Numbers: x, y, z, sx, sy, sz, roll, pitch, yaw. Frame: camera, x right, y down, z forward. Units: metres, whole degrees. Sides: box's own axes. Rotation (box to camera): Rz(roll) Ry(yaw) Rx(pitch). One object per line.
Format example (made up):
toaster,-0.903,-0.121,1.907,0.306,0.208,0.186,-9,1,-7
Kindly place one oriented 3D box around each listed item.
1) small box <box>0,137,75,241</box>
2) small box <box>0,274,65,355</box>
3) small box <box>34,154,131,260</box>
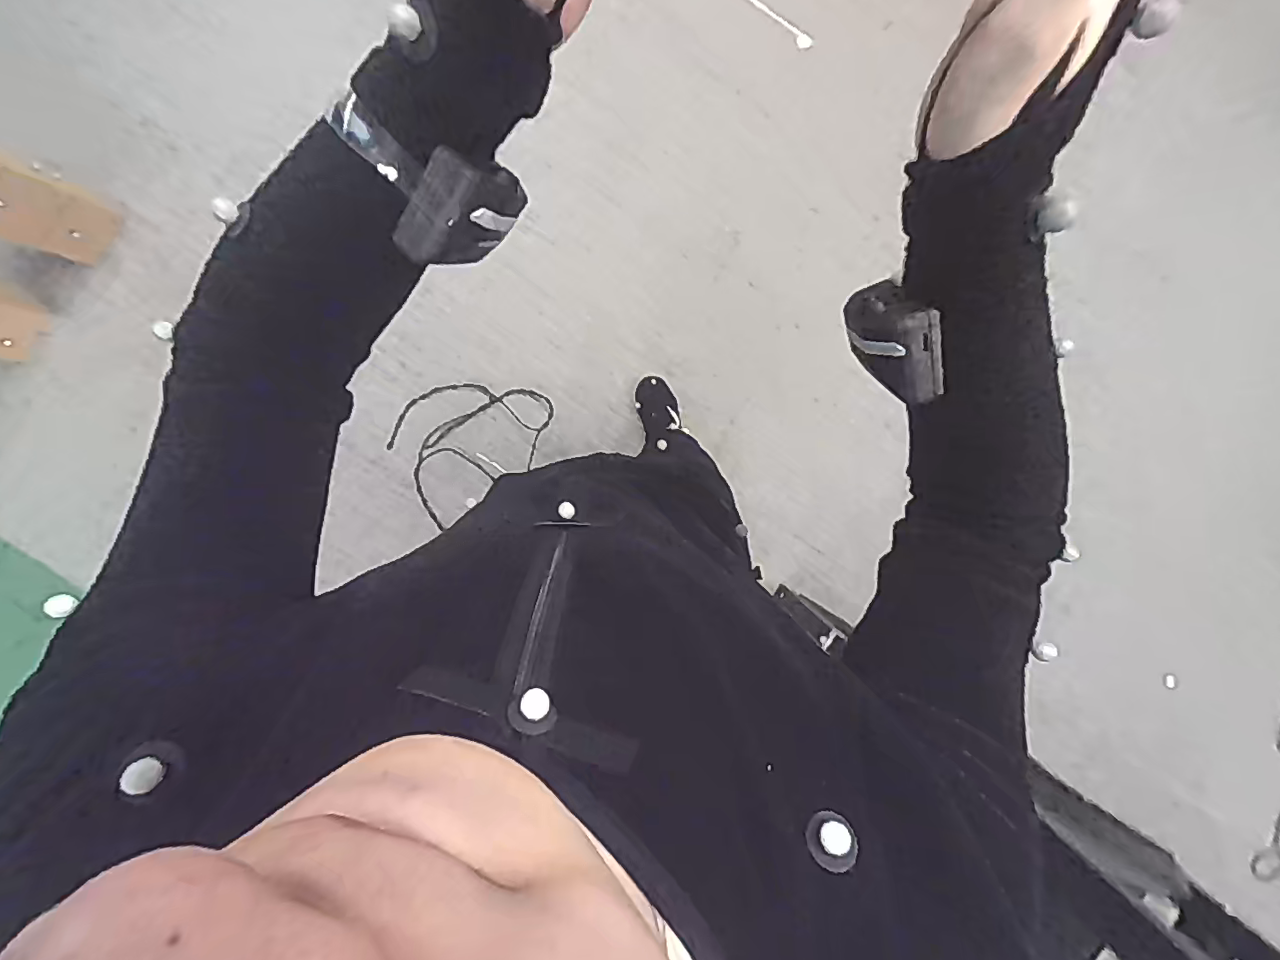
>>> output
small box,-1.553,-0.719,1.309,0.168,0.176,0.179,38,92,-3
small box,-1.772,-0.464,1.489,0.179,0.176,0.168,39,92,-2
small box,-1.563,-0.736,1.472,0.168,0.176,0.179,37,93,-3
